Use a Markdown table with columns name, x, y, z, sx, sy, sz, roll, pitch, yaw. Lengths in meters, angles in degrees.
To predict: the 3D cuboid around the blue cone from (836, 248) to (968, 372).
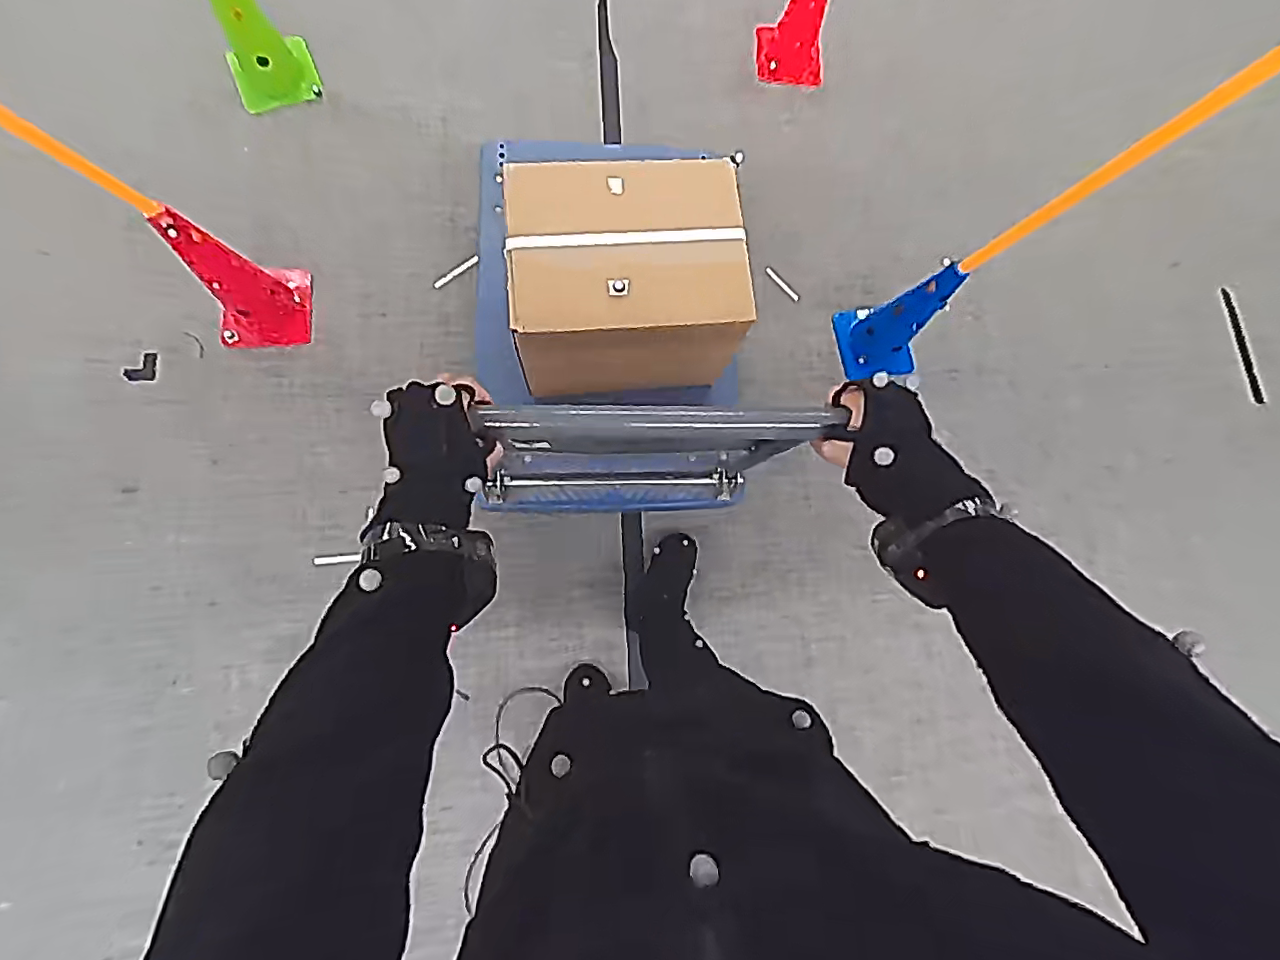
| name | x | y | z | sx | sy | sz | roll | pitch | yaw |
| --- | --- | --- | --- | --- | --- | --- | --- | --- | --- |
| blue cone | 0.651 | -0.418 | 1.301 | 0.193 | 0.380 | 0.192 | -7 | 79 | -8 |

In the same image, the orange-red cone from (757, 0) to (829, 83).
| name | x | y | z | sx | sy | sz | roll | pitch | yaw |
| --- | --- | --- | --- | --- | --- | --- | --- | --- | --- |
| orange-red cone | 0.467 | -1.300 | 1.435 | 0.199 | 0.360 | 0.198 | 4 | 79 | -6 |
